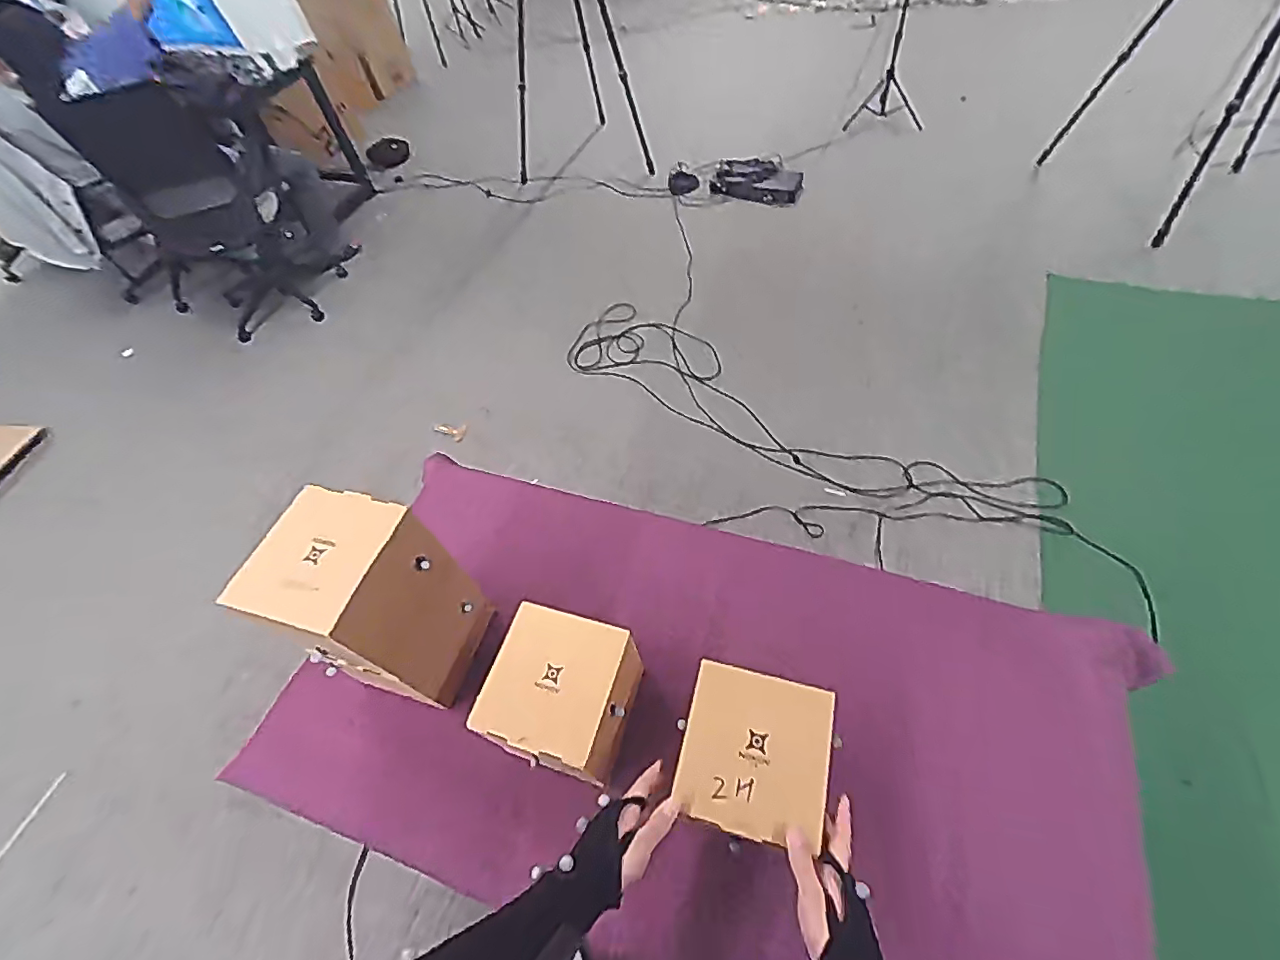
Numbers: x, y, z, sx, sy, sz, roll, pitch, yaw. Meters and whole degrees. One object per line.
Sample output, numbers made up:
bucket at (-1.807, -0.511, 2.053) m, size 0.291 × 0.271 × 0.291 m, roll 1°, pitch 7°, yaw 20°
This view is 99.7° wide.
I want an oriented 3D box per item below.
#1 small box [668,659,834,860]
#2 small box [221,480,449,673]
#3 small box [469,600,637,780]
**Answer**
small box at (0.140, 0.358, 0.693) m, size 0.168 × 0.176 × 0.179 m, roll 11°, pitch 58°, yaw 15°
small box at (-0.380, 0.130, 0.719) m, size 0.168 × 0.176 × 0.179 m, roll 11°, pitch 57°, yaw 15°
small box at (-0.107, 0.300, 0.768) m, size 0.168 × 0.176 × 0.179 m, roll 12°, pitch 58°, yaw 15°
